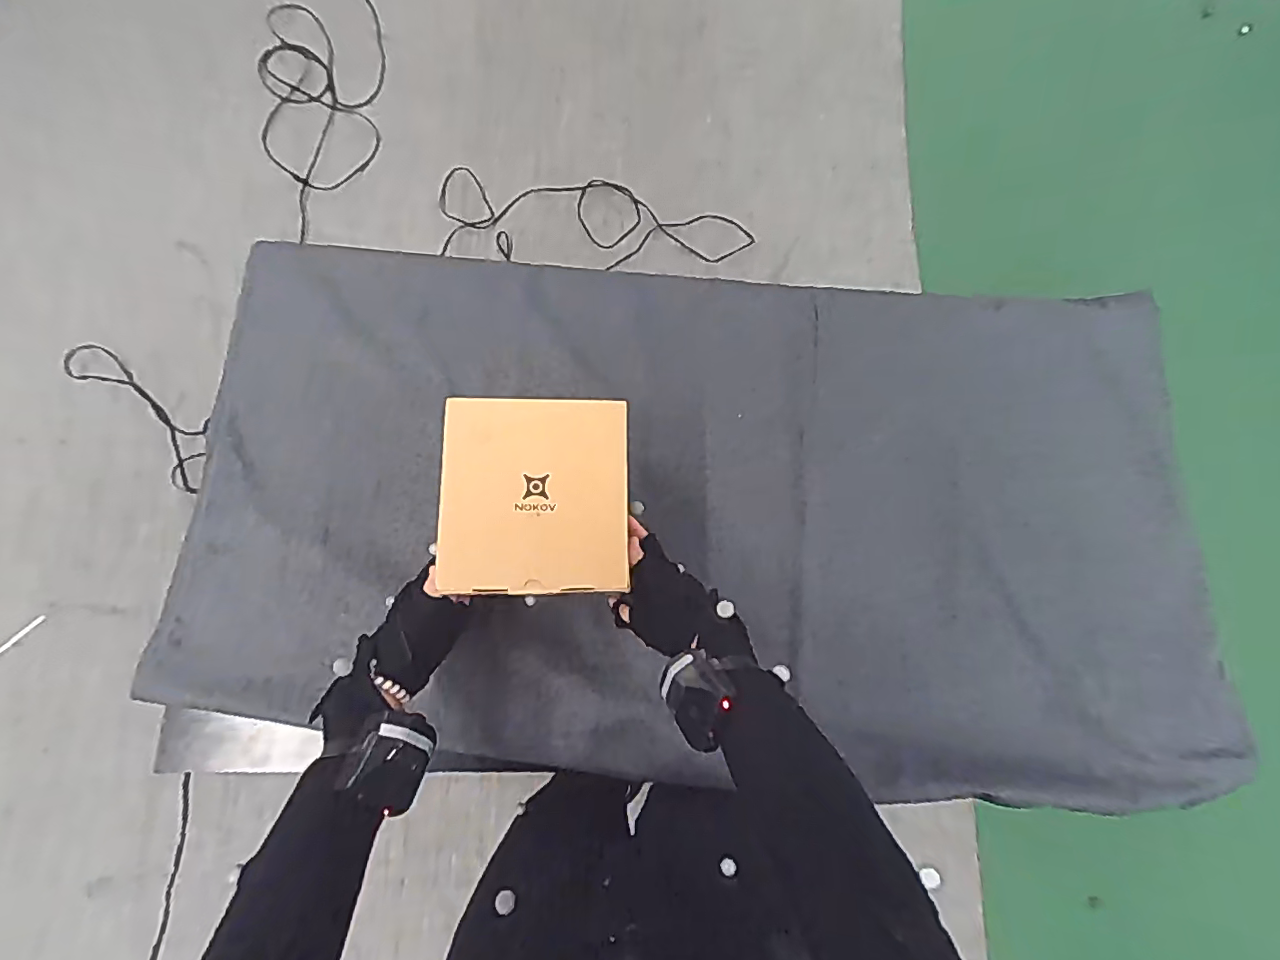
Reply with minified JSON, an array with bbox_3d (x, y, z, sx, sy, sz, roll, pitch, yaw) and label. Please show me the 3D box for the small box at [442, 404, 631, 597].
[{"bbox_3d":[-0.100,0.032,0.568,0.168,0.176,0.179,1,79,-6],"label":"small box"}]
